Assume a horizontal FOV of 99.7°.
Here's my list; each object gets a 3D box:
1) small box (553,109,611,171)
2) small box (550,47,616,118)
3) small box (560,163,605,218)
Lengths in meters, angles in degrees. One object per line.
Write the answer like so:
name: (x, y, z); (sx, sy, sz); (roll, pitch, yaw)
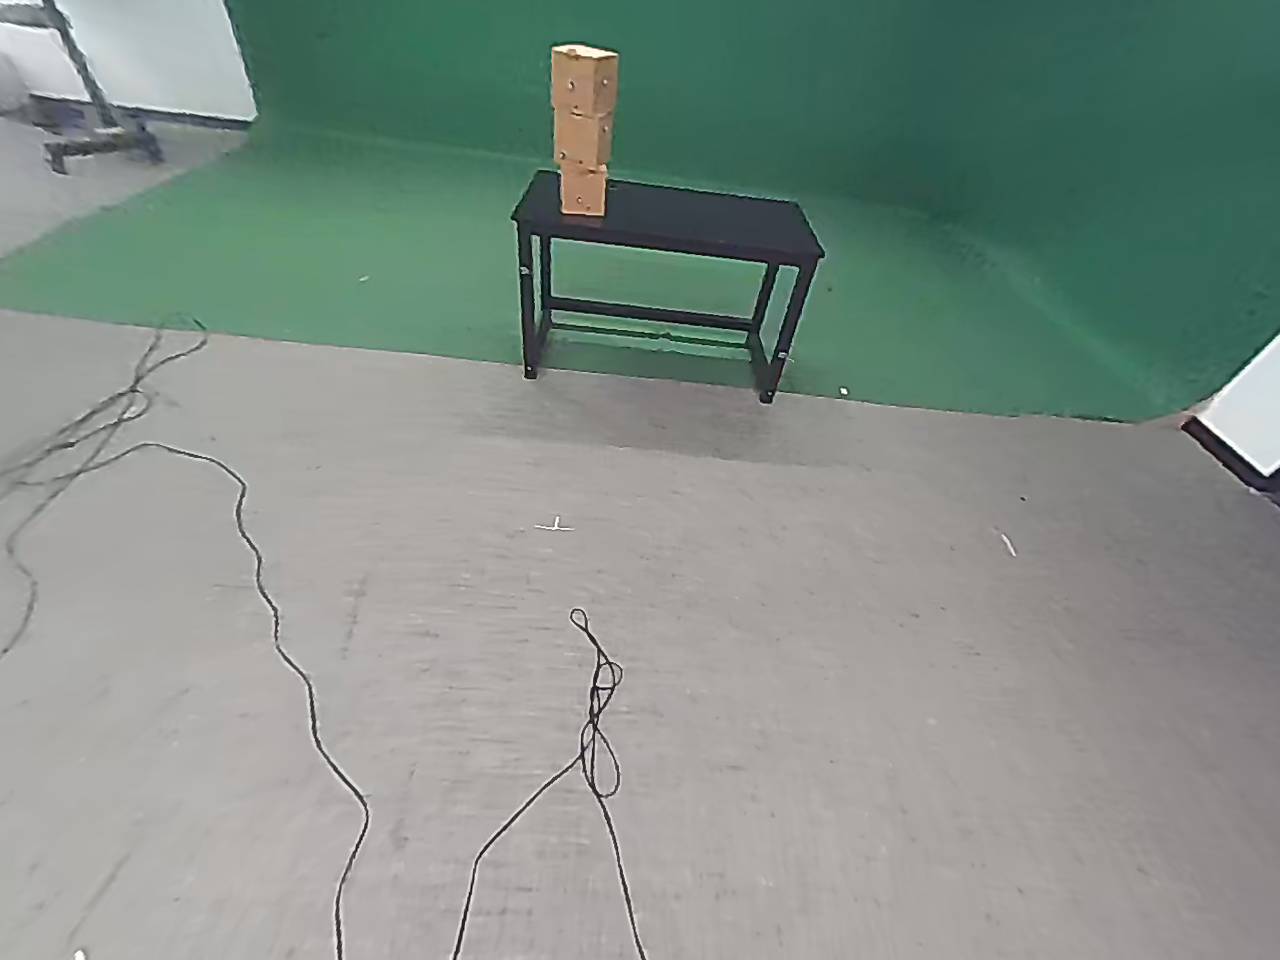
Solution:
small box: (-0.215, -1.265, 1.999); (0.168, 0.176, 0.179); (15, 44, 6)
small box: (-0.198, -1.386, 1.888); (0.168, 0.176, 0.179); (23, 47, 13)
small box: (-0.229, -1.148, 2.113); (0.168, 0.176, 0.179); (0, 46, -10)
